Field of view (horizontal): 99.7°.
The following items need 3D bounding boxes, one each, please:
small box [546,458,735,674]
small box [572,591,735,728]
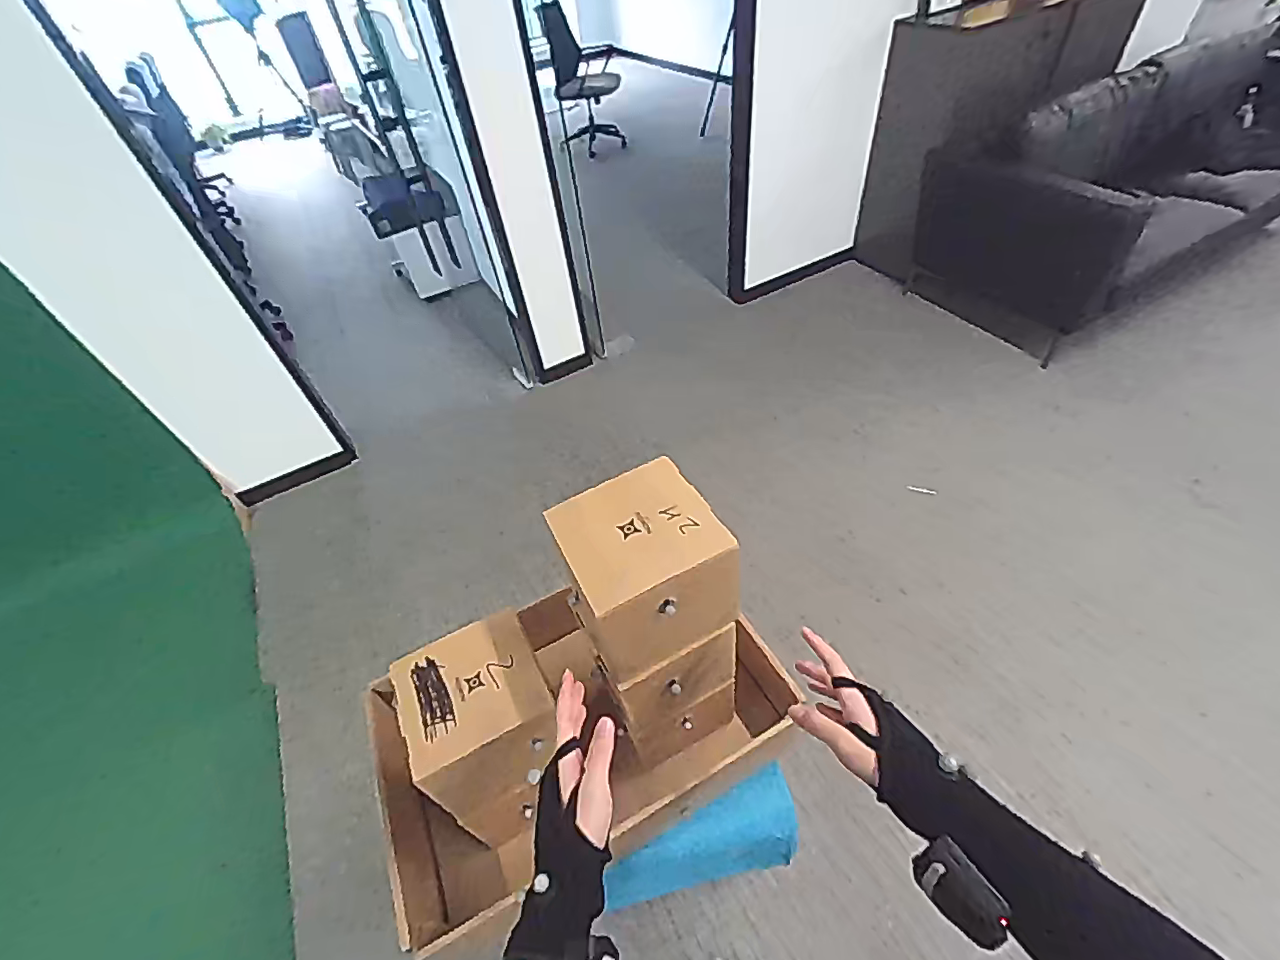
[{"bbox_3d":[0.007,0.110,0.677,0.179,0.176,0.168,-25,49,-12],"label":"small box"},{"bbox_3d":[0.026,0.228,0.792,0.179,0.176,0.168,-27,49,-13],"label":"small box"}]
